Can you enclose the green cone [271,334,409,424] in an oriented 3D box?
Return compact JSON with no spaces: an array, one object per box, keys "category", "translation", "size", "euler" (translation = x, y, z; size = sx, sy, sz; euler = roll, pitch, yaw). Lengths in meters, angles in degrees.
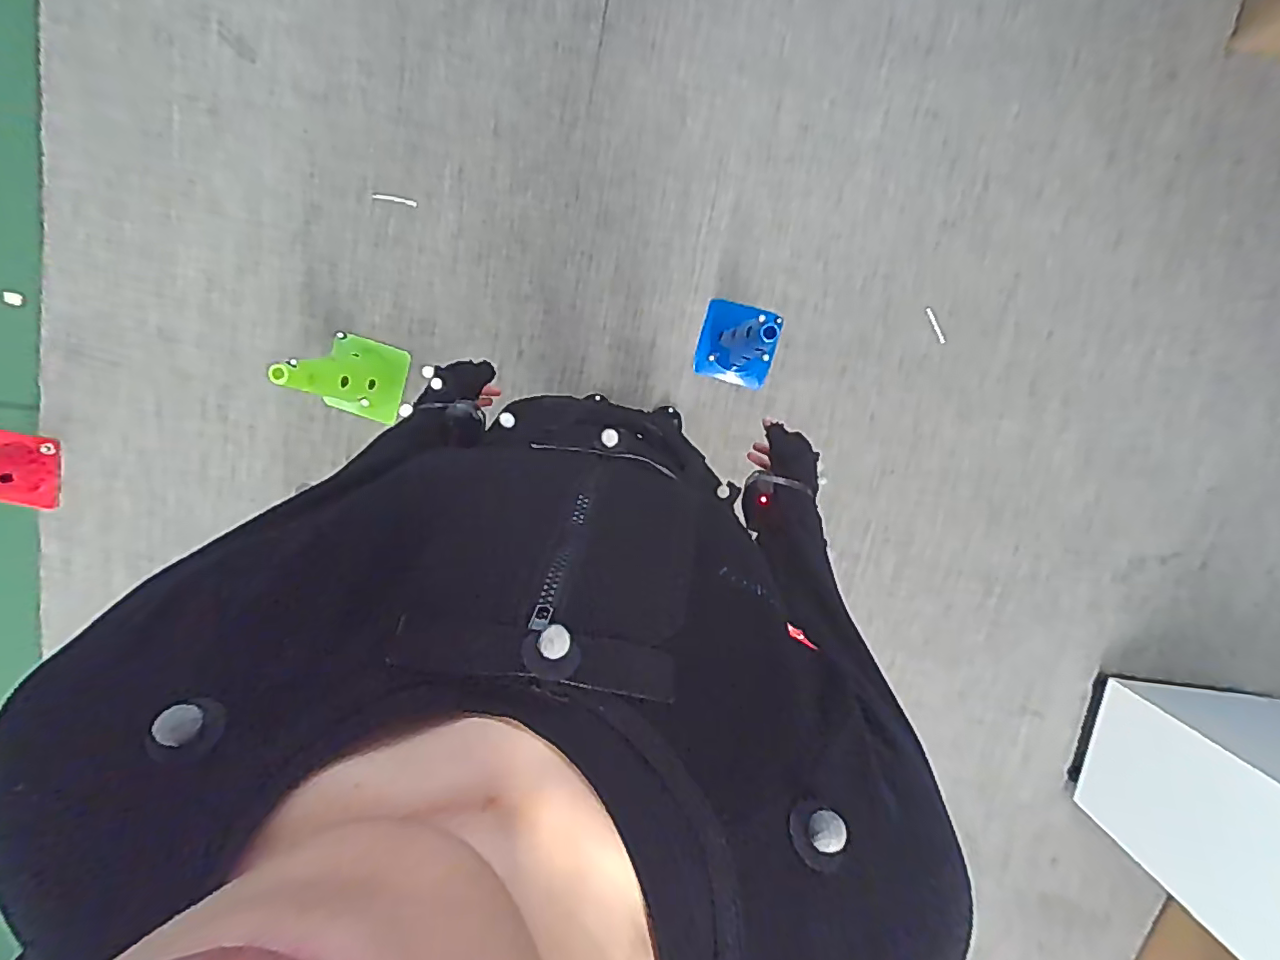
[{"category":"green cone","translation":[-0.722,-0.239,1.253],"size":[0.202,0.368,0.200],"euler":[16,98,-3]}]
